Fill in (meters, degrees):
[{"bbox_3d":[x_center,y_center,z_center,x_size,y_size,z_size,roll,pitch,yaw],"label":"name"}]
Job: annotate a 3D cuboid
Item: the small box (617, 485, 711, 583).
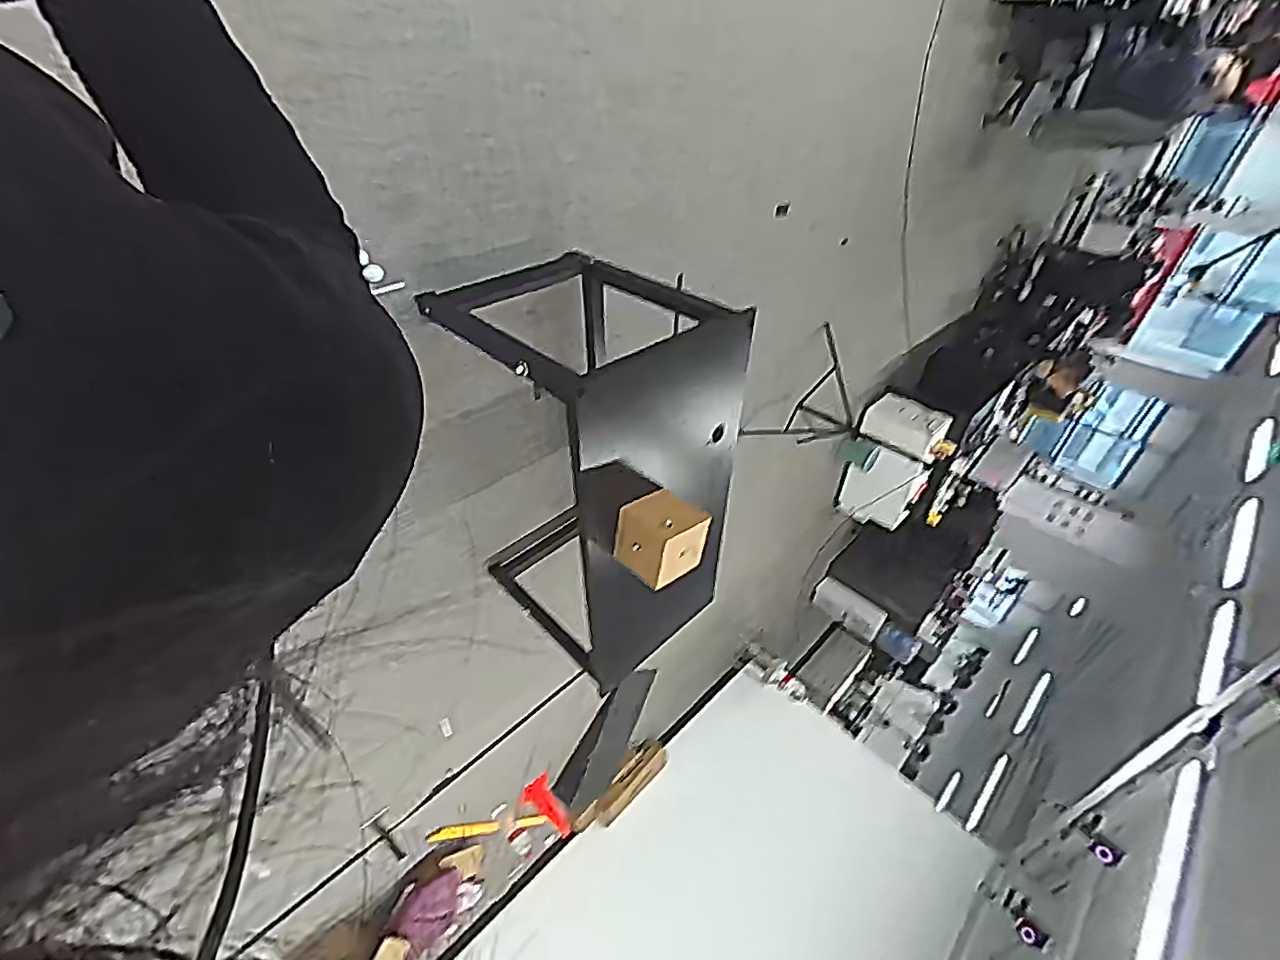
[{"bbox_3d":[0.060,0.139,1.444,0.179,0.176,0.168,-23,134,-41],"label":"small box"}]
